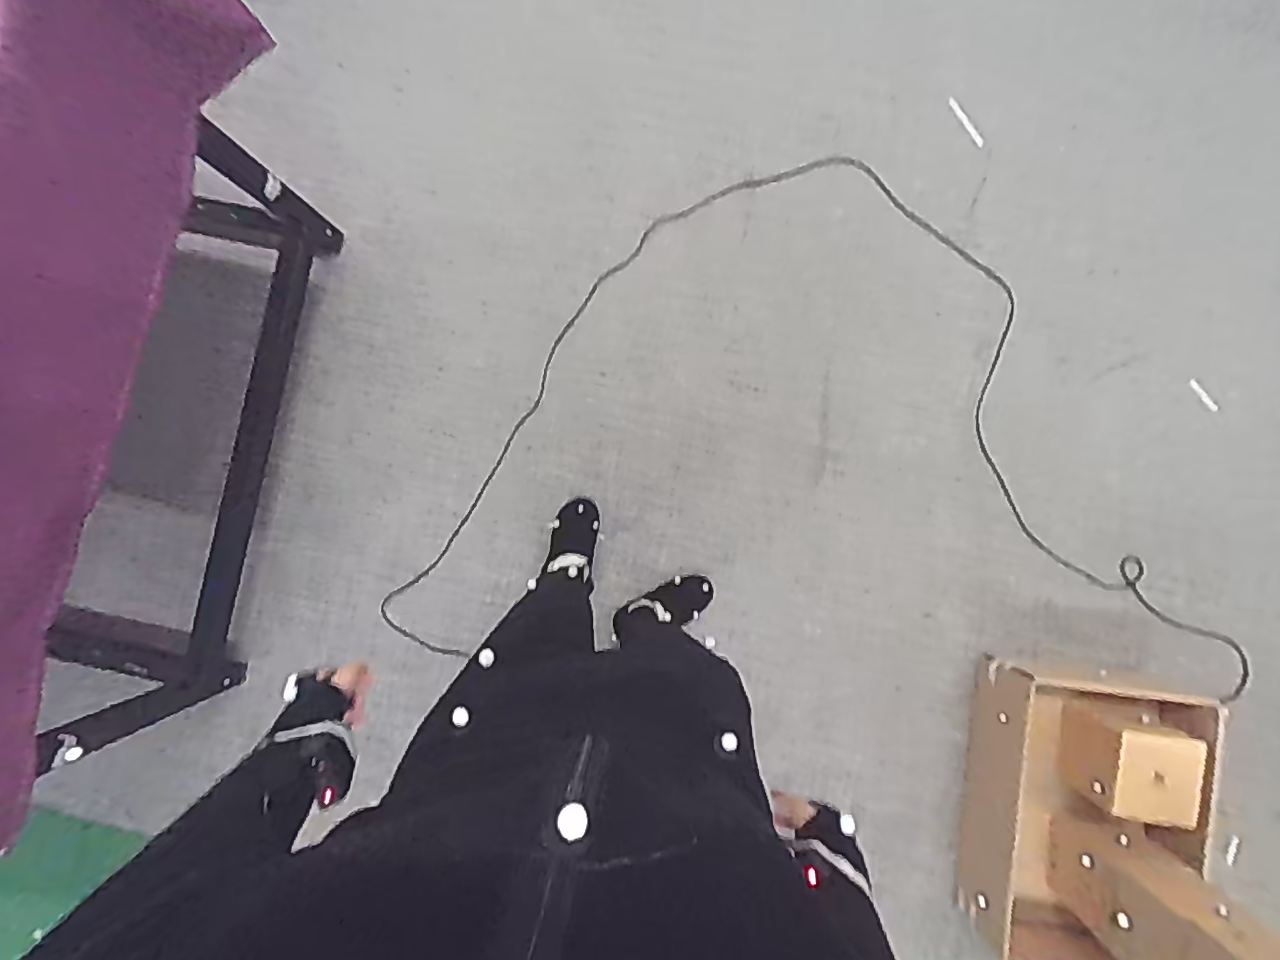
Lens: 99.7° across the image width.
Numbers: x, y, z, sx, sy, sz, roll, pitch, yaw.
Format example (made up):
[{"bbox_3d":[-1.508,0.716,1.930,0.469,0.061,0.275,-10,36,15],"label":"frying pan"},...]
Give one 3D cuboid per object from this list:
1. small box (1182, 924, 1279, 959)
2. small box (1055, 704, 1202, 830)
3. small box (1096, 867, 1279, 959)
[{"bbox_3d":[0.994,0.858,0.841,0.168,0.176,0.179,13,89,2],"label":"small box"},{"bbox_3d":[1.046,0.611,1.173,0.168,0.176,0.179,7,90,3],"label":"small box"},{"bbox_3d":[1.014,0.865,1.006,0.179,0.176,0.168,9,89,3],"label":"small box"}]
